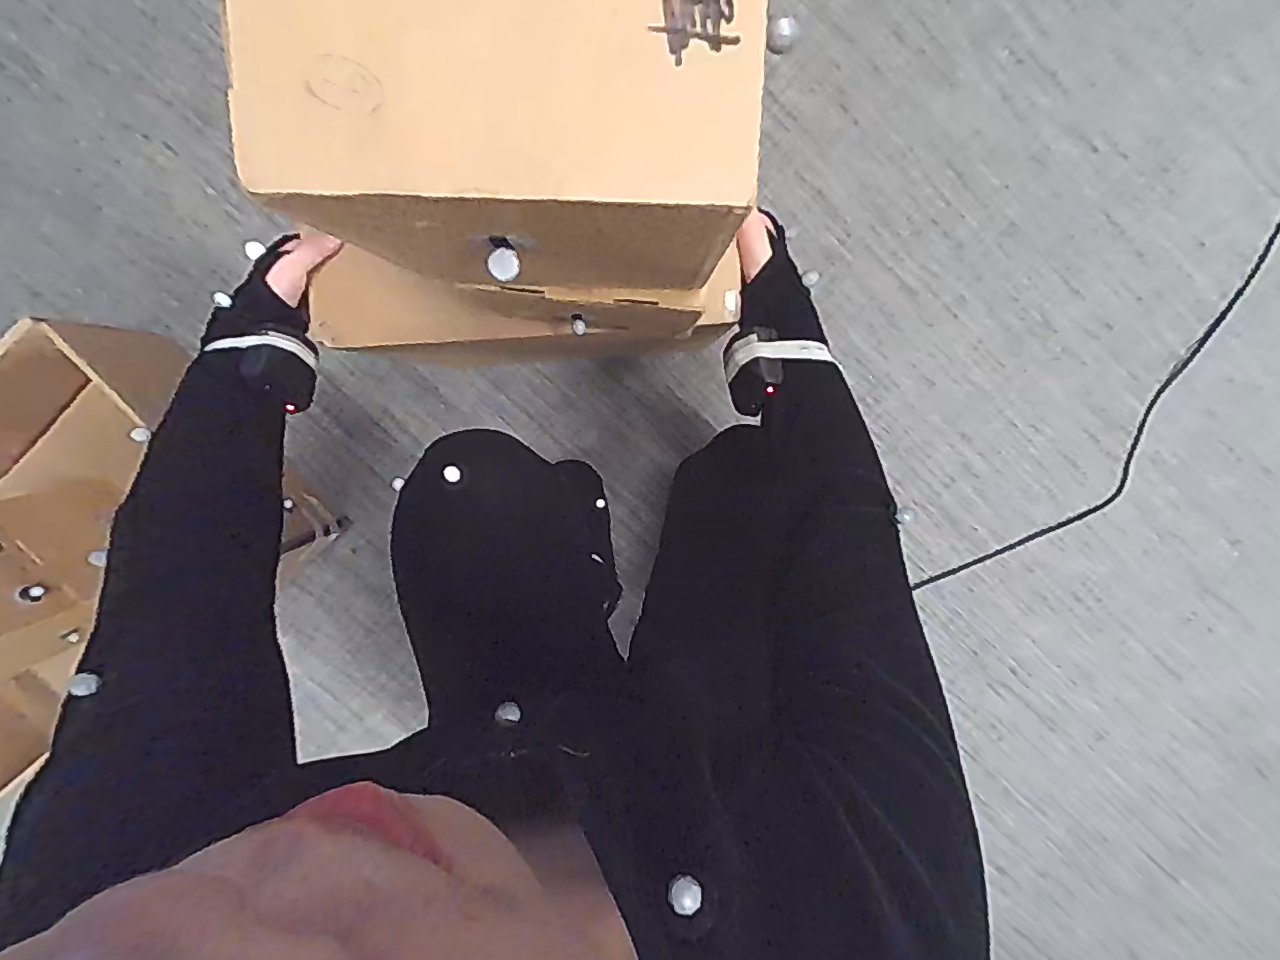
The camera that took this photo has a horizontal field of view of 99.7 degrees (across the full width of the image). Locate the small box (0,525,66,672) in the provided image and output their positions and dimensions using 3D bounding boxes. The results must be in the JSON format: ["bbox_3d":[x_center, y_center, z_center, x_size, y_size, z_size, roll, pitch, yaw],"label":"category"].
[{"bbox_3d":[-0.814,0.154,0.596,0.179,0.176,0.168,-38,98,9],"label":"small box"}]

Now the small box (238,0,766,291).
[{"bbox_3d":[-0.042,-0.187,0.250,0.179,0.176,0.168,3,101,1],"label":"small box"}]

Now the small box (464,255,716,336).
[{"bbox_3d":[-0.027,-0.214,0.411,0.168,0.176,0.179,6,101,0],"label":"small box"}]

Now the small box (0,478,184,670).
[{"bbox_3d":[-0.810,0.121,0.757,0.179,0.176,0.168,-39,98,8],"label":"small box"}]
